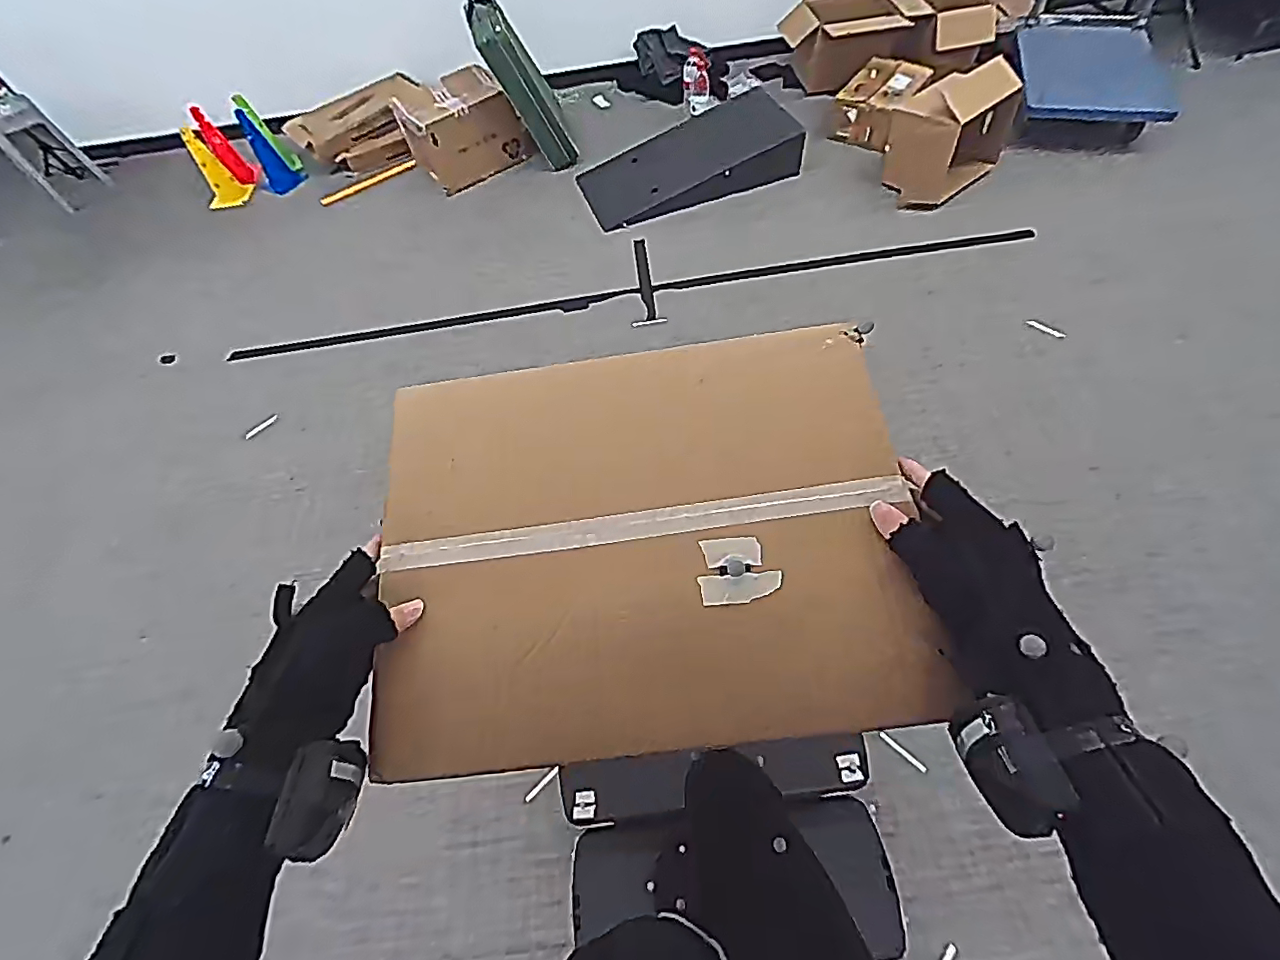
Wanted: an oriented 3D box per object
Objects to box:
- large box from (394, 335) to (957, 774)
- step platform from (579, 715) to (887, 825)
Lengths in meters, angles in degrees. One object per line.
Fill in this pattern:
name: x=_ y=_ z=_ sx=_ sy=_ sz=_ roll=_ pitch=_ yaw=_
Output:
large box: x=0.016 y=0.095 z=0.567 sx=0.408 sy=0.320 sz=0.320 roll=-8 pitch=68 yaw=3
step platform: x=0.199 y=0.601 z=1.266 sx=0.684 sy=0.204 sz=0.286 roll=-8 pitch=58 yaw=0
